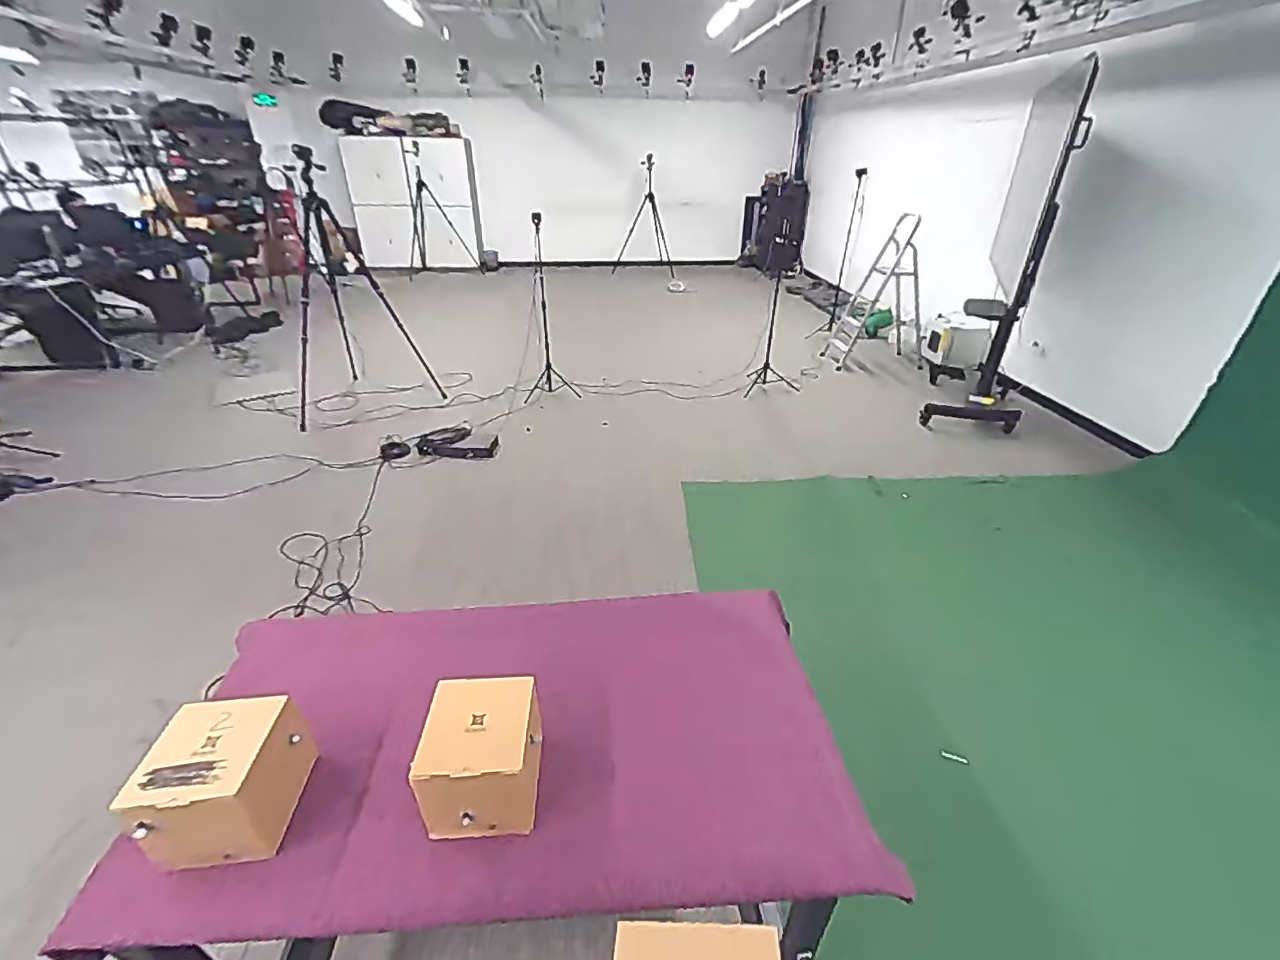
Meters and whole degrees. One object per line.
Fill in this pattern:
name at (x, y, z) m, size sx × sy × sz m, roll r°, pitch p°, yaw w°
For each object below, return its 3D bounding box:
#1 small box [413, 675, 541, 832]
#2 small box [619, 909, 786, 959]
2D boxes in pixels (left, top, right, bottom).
small box at (-0.259, 0.453, 0.906) m, size 0.168 × 0.176 × 0.179 m, roll -1°, pitch 31°, yaw -4°
small box at (0.064, 0.560, 0.521) m, size 0.168 × 0.176 × 0.179 m, roll -5°, pitch 27°, yaw 8°
